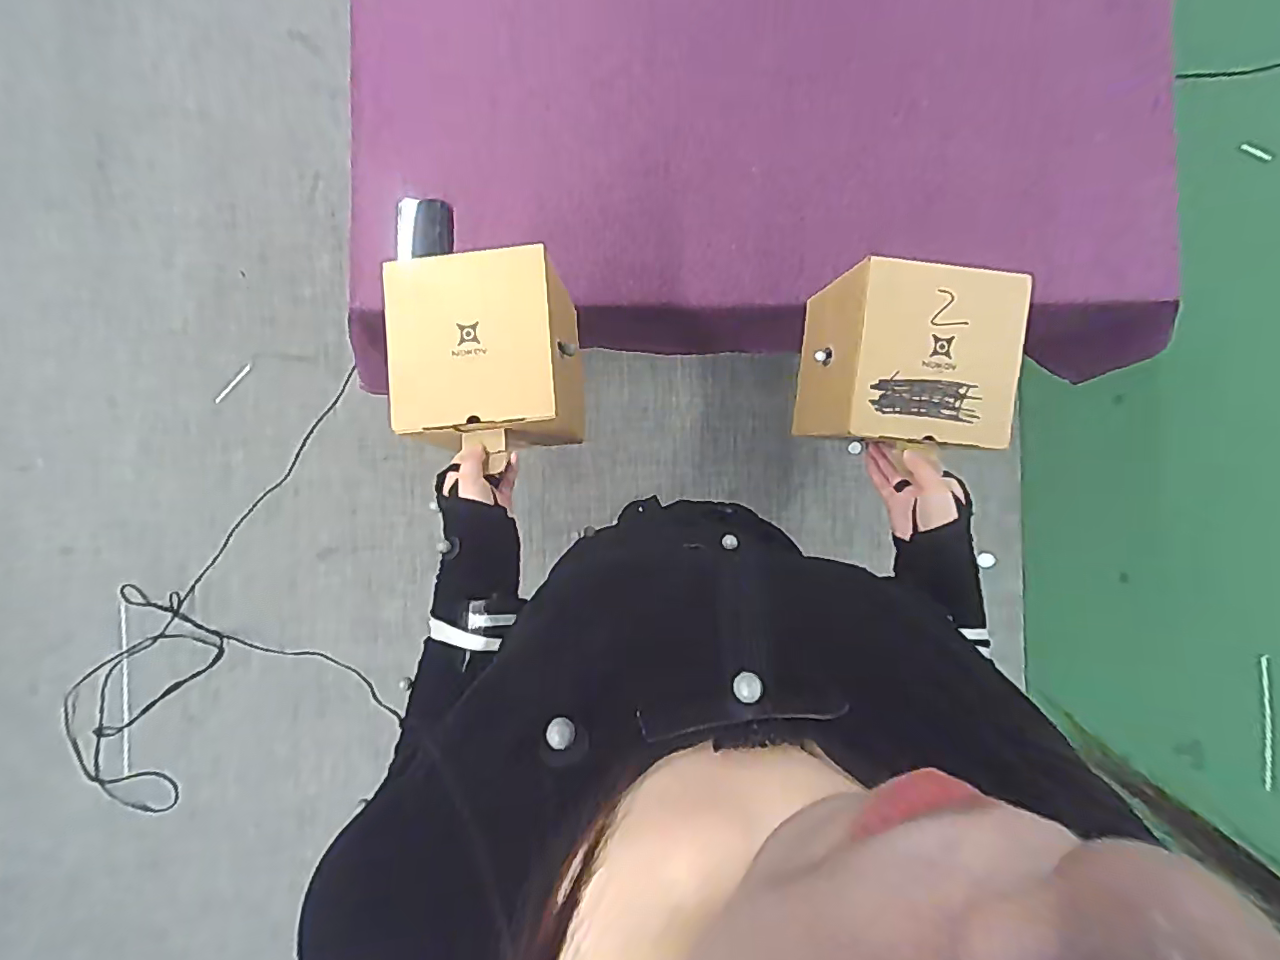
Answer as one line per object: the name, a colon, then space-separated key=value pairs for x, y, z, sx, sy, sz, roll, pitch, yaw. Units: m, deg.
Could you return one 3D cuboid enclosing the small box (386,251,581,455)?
small box: x=-0.163 y=-0.129 z=0.606 sx=0.168 sy=0.176 sz=0.179 roll=-5 pitch=87 yaw=2
